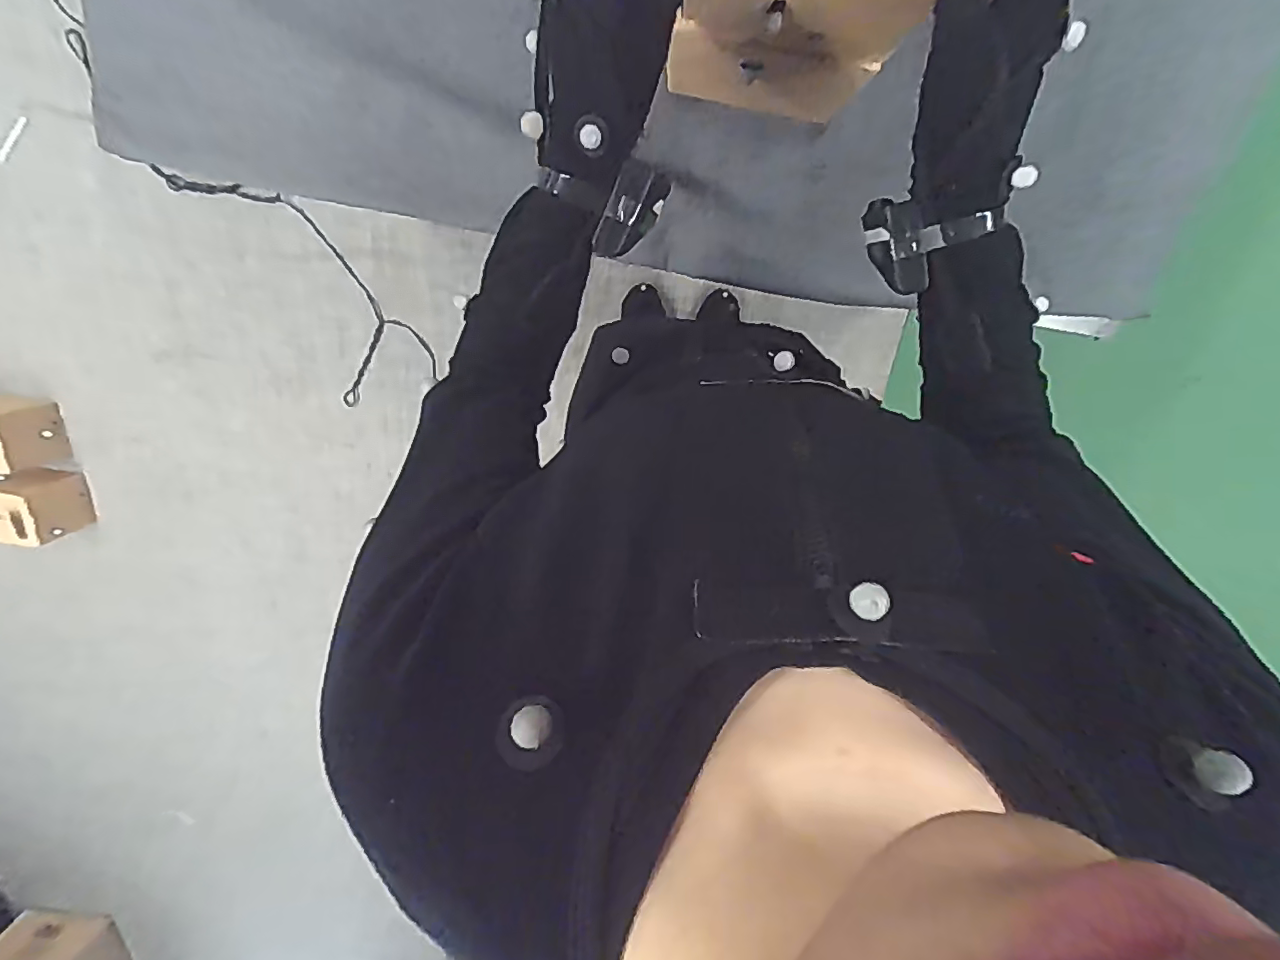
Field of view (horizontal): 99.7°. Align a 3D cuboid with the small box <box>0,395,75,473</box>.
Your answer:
[{"bbox_3d":[-1.765,-0.134,1.511,0.179,0.176,0.168,7,113,1],"label":"small box"}]

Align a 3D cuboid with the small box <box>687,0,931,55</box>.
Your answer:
[{"bbox_3d":[0.120,-0.400,0.324,0.168,0.176,0.179,10,112,0],"label":"small box"}]

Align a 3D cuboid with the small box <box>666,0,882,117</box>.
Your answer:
[{"bbox_3d":[0.125,-0.448,0.480,0.179,0.176,0.168,11,112,-1],"label":"small box"}]
